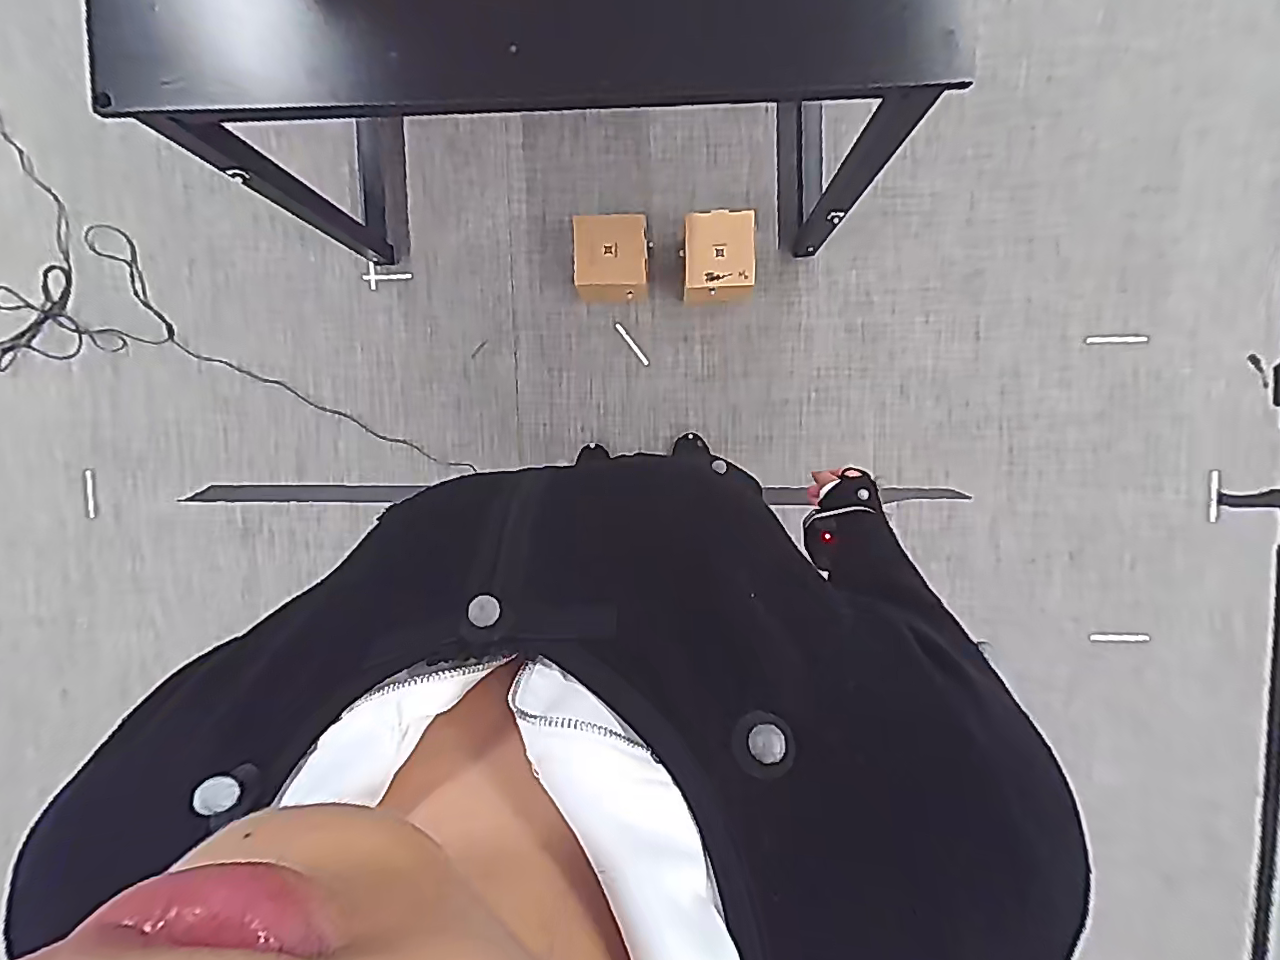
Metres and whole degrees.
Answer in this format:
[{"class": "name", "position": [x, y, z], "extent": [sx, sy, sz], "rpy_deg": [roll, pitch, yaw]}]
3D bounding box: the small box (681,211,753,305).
[{"class": "small box", "position": [0.190, -0.553, 1.367], "extent": [0.168, 0.176, 0.179], "rpy_deg": [-1, 94, 3]}]

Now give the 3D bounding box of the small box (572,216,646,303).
[{"class": "small box", "position": [-0.072, -0.557, 1.380], "extent": [0.179, 0.176, 0.168], "rpy_deg": [-1, 93, 3]}]
